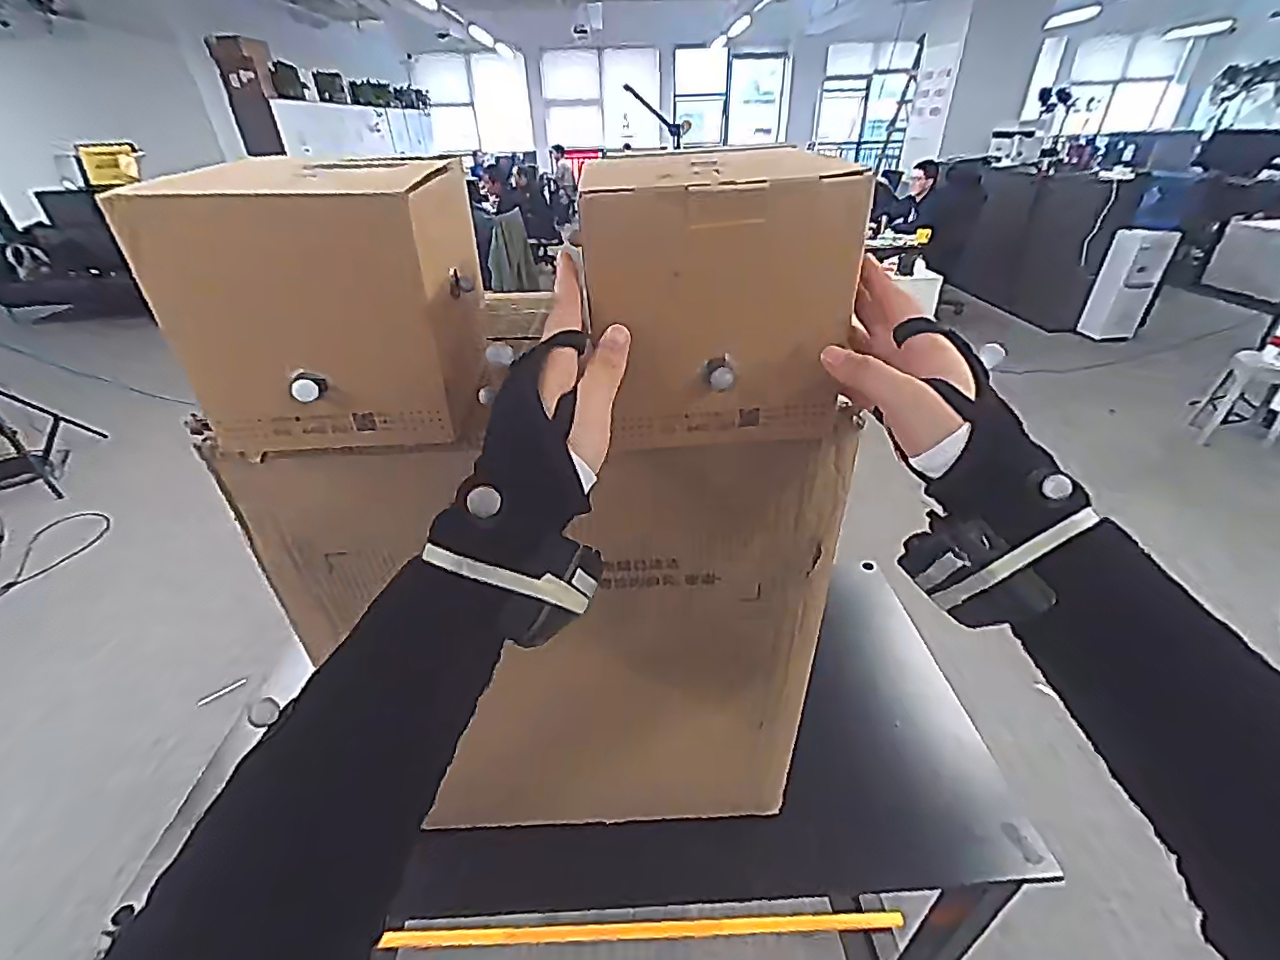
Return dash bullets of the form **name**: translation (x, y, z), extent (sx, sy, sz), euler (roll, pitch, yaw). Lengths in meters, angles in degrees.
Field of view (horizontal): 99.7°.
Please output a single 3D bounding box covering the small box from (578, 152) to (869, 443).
- **small box**: translation (0.047, -0.144, 0.413), extent (0.168, 0.176, 0.179), euler (-4, 35, 0)
